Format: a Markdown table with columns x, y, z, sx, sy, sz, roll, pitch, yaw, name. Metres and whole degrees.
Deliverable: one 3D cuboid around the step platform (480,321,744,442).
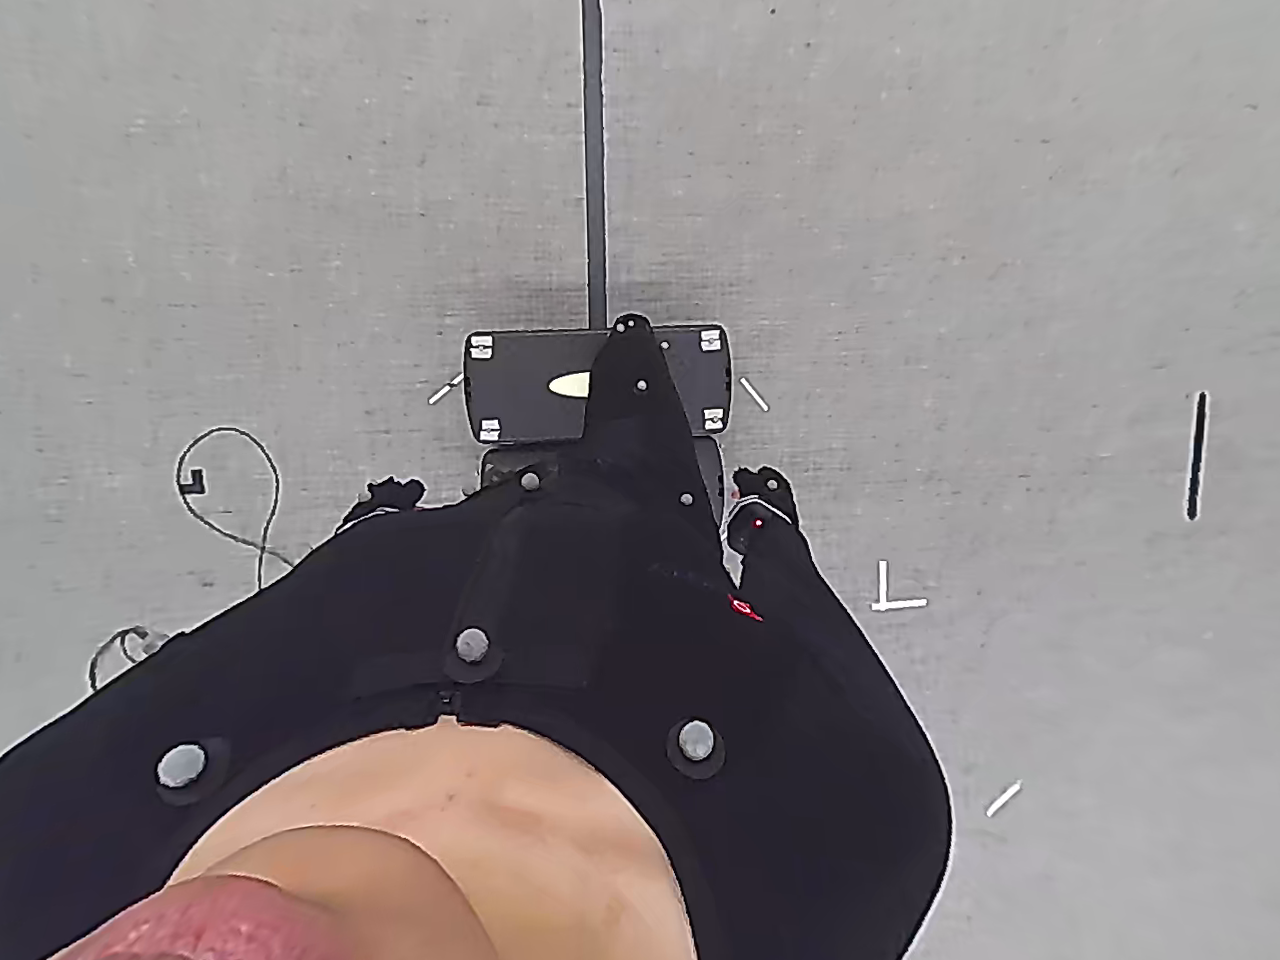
| x | y | z | sx | sy | sz | roll | pitch | yaw | name |
| --- | --- | --- | --- | --- | --- | --- | --- | --- | --- |
| -0.070 | -0.260 | 1.435 | 0.684 | 0.204 | 0.286 | -4 | 98 | -4 | step platform |
